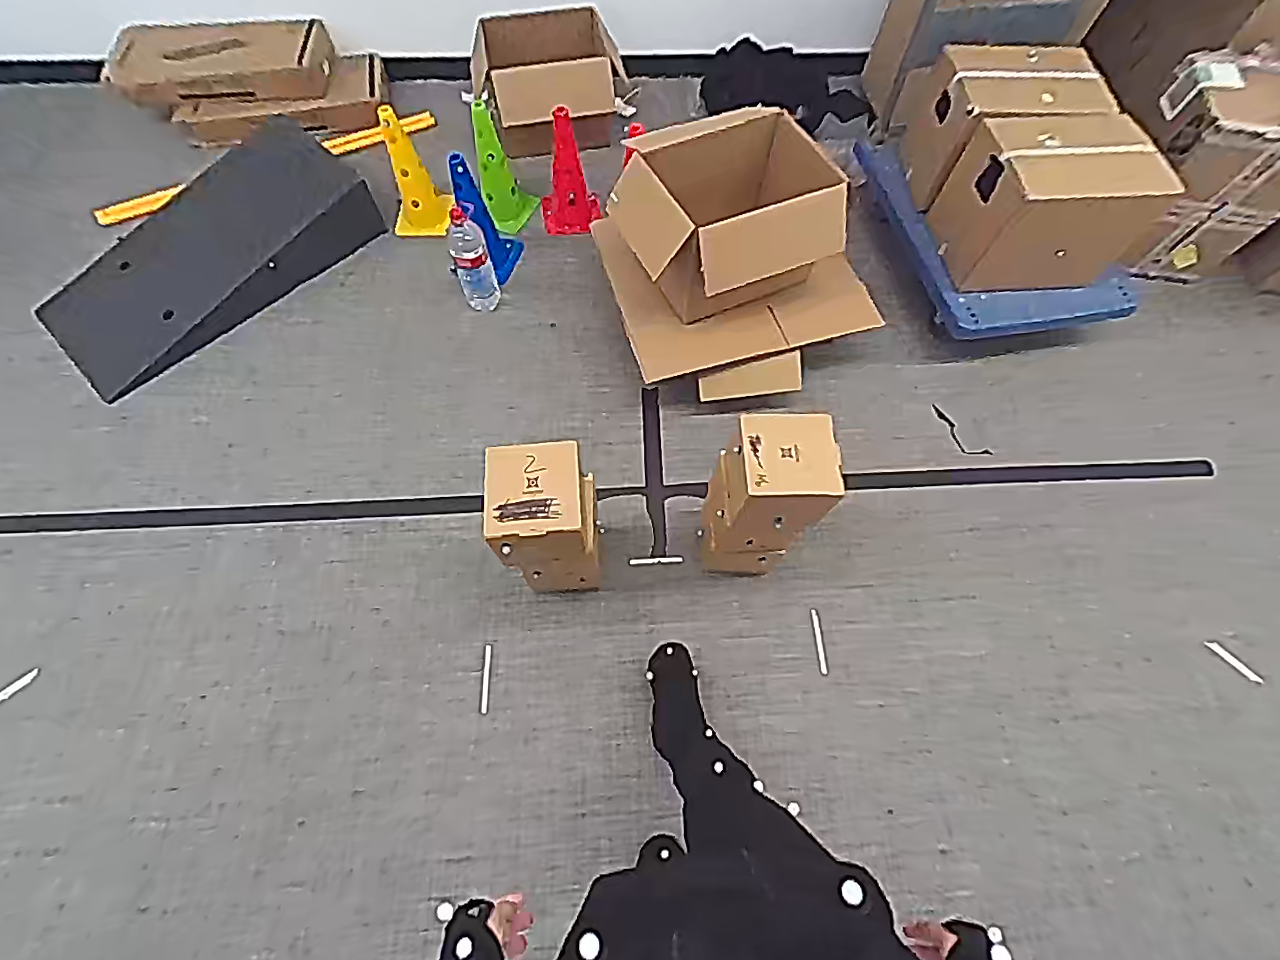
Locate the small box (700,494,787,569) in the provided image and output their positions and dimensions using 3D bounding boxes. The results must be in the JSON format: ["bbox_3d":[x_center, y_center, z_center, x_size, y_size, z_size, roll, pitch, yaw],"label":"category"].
[{"bbox_3d":[0.249,0.120,1.341,0.179,0.176,0.168,3,65,-1],"label":"small box"}]

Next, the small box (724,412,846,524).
[{"bbox_3d":[0.270,-0.018,1.046,0.179,0.176,0.168,1,67,-3],"label":"small box"}]

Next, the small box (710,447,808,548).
[{"bbox_3d":[0.254,0.041,1.198,0.168,0.176,0.179,-1,66,-3],"label":"small box"}]

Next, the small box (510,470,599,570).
[{"bbox_3d":[-0.175,0.093,1.162,0.168,0.176,0.179,-1,64,-2],"label":"small box"}]

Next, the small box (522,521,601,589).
[{"bbox_3d":[-0.185,0.160,1.312,0.179,0.176,0.168,-5,65,-2],"label":"small box"}]
